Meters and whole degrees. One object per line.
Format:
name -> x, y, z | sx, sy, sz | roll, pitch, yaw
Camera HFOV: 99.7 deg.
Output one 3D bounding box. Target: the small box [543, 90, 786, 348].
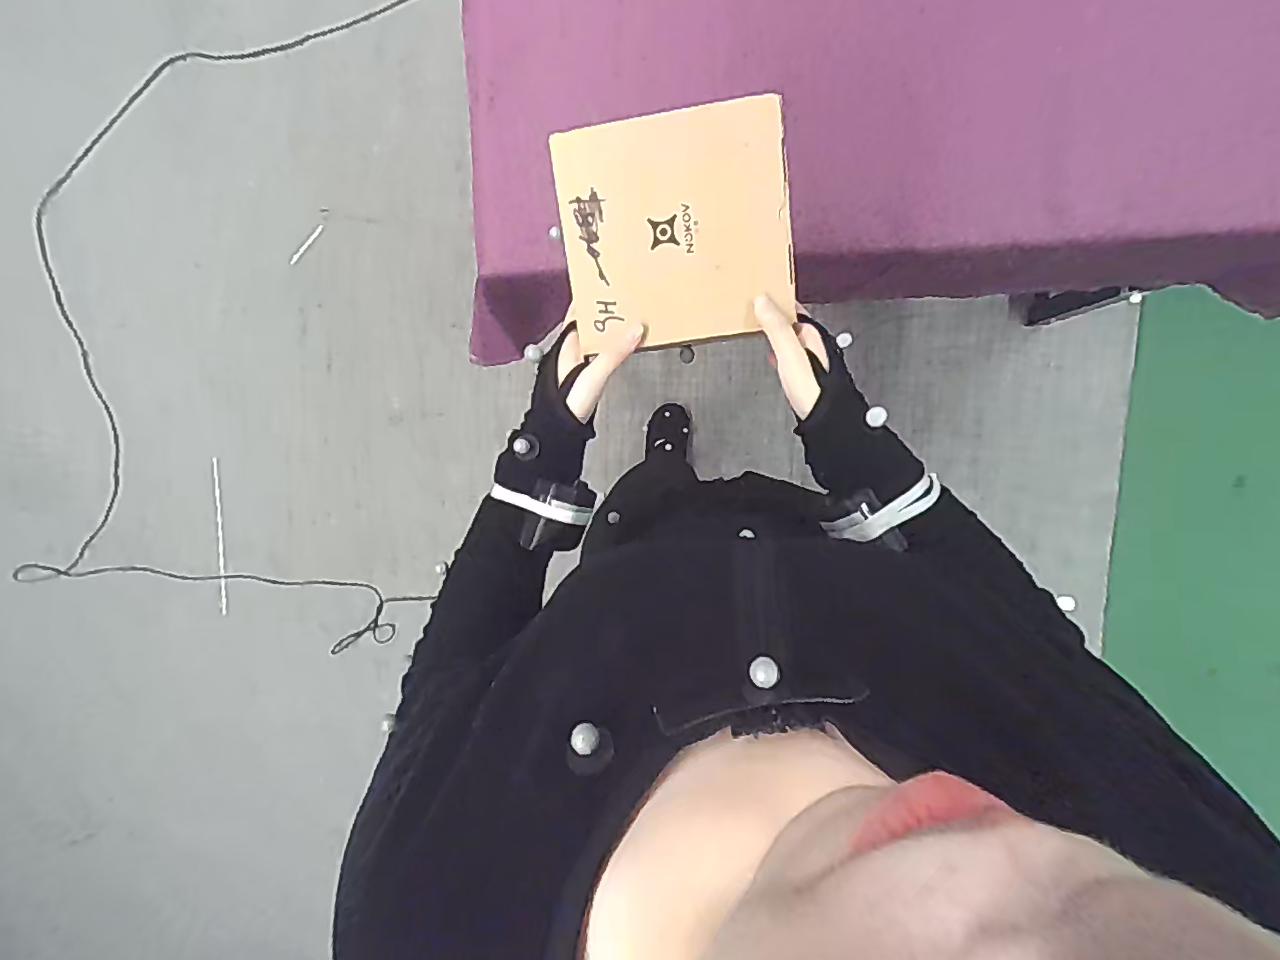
small box -> 0.025, -0.214, 0.493 | 0.179, 0.176, 0.168 | -6, 101, 5
